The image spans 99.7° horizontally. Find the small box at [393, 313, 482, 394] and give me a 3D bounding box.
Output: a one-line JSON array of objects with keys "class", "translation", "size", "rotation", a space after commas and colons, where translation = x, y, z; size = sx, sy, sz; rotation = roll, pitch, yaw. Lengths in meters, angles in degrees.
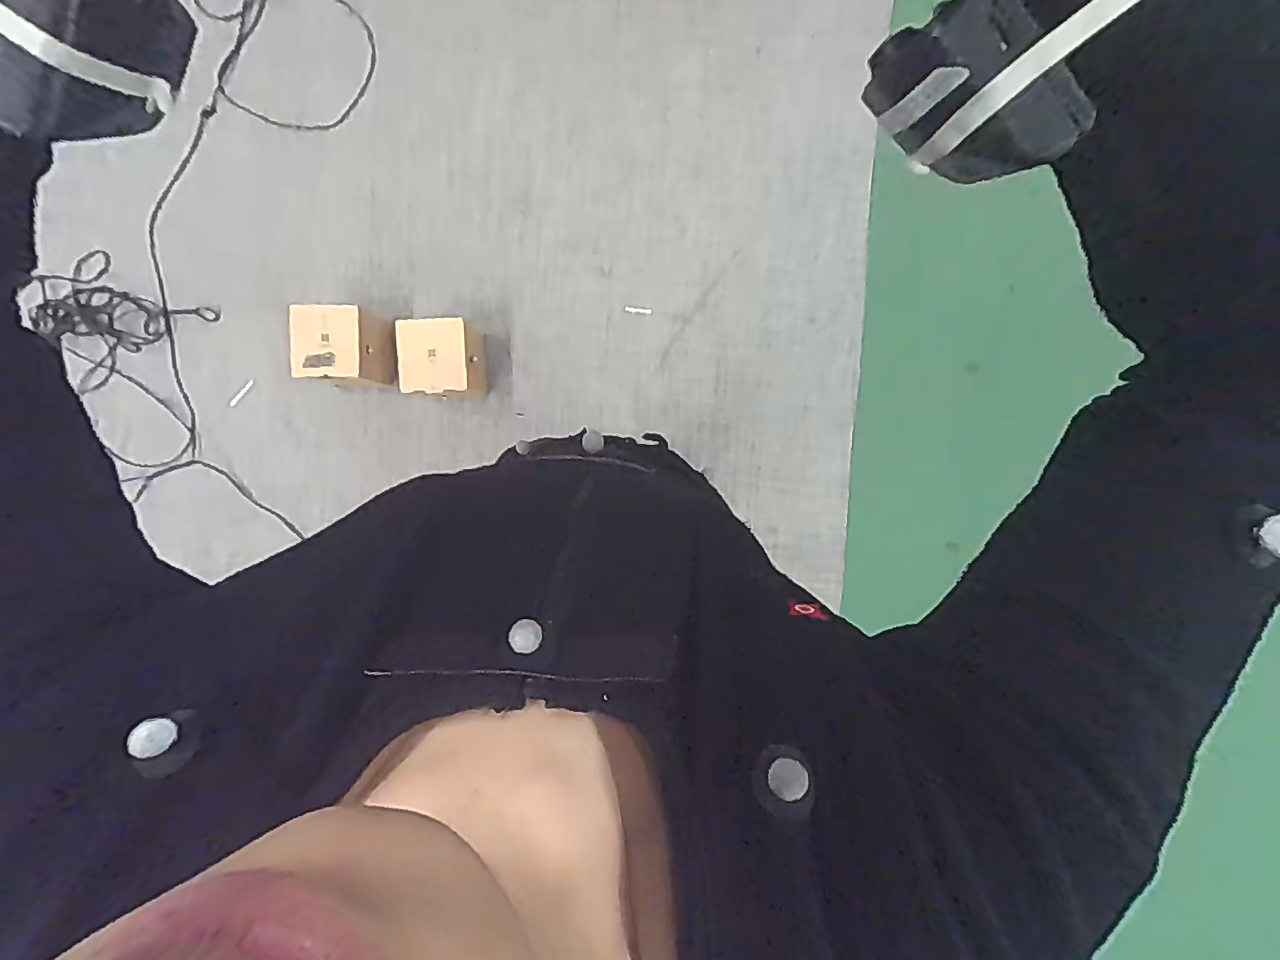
[{"class": "small box", "translation": [-0.505, -0.314, 1.369], "size": [0.168, 0.176, 0.179], "rotation": [-2, 95, -1]}]

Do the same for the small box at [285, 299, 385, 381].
[{"class": "small box", "translation": [-0.759, -0.345, 1.361], "size": [0.168, 0.176, 0.179], "rotation": [0, 93, -1]}]
